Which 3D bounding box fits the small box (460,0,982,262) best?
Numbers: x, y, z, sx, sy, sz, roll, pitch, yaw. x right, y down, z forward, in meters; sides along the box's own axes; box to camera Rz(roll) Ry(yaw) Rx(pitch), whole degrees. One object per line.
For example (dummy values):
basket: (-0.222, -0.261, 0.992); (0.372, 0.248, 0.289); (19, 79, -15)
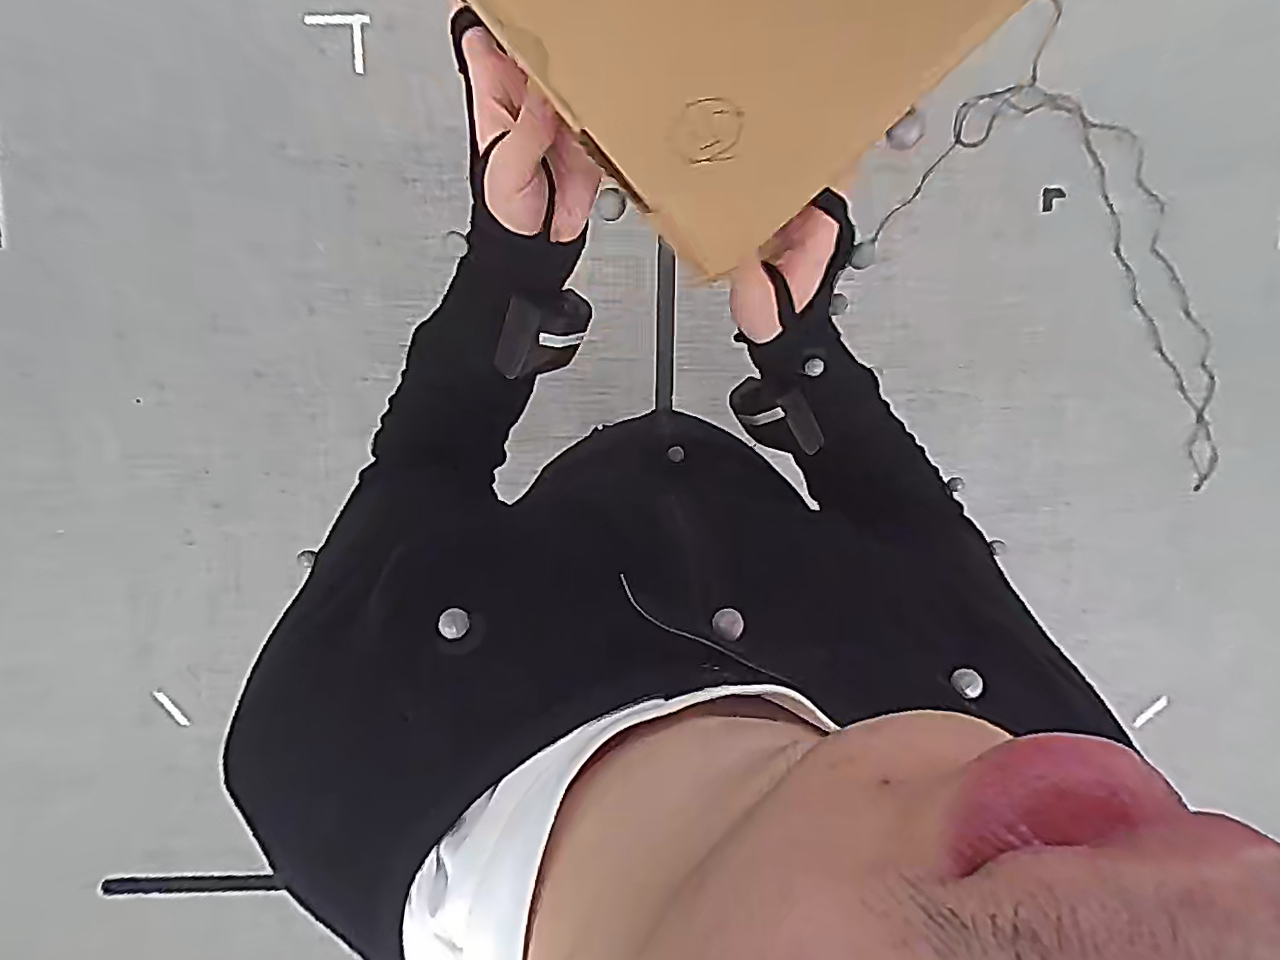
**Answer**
small box: (0.031, -0.211, 0.205); (0.179, 0.176, 0.168); (-41, 108, 19)
